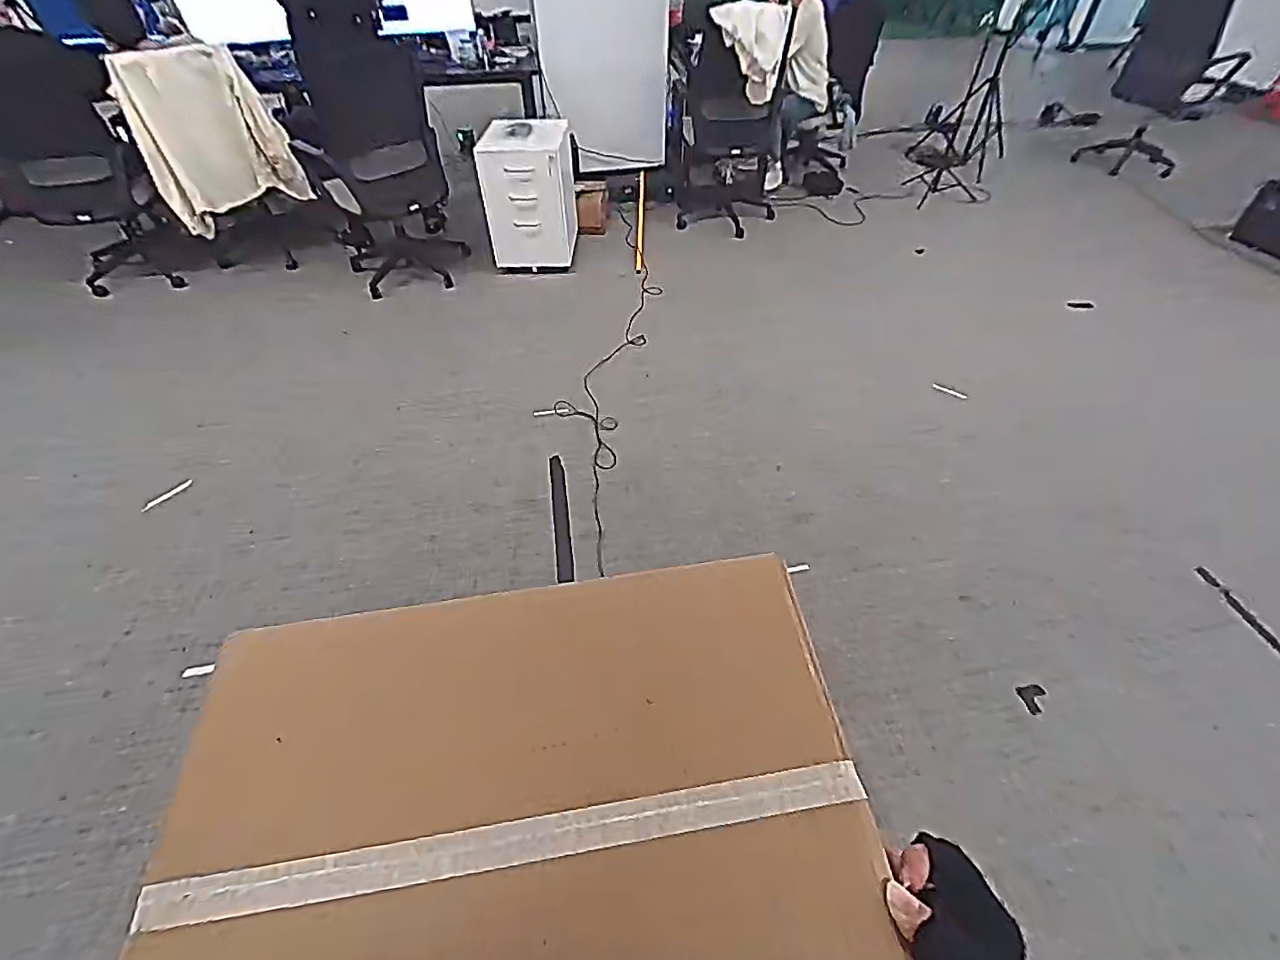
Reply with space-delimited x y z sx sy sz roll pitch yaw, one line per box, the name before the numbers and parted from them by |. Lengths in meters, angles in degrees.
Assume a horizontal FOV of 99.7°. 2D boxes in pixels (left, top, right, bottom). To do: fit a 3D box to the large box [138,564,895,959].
large box | -0.069 0.301 0.437 0.408 0.320 0.320 -8 52 -4
